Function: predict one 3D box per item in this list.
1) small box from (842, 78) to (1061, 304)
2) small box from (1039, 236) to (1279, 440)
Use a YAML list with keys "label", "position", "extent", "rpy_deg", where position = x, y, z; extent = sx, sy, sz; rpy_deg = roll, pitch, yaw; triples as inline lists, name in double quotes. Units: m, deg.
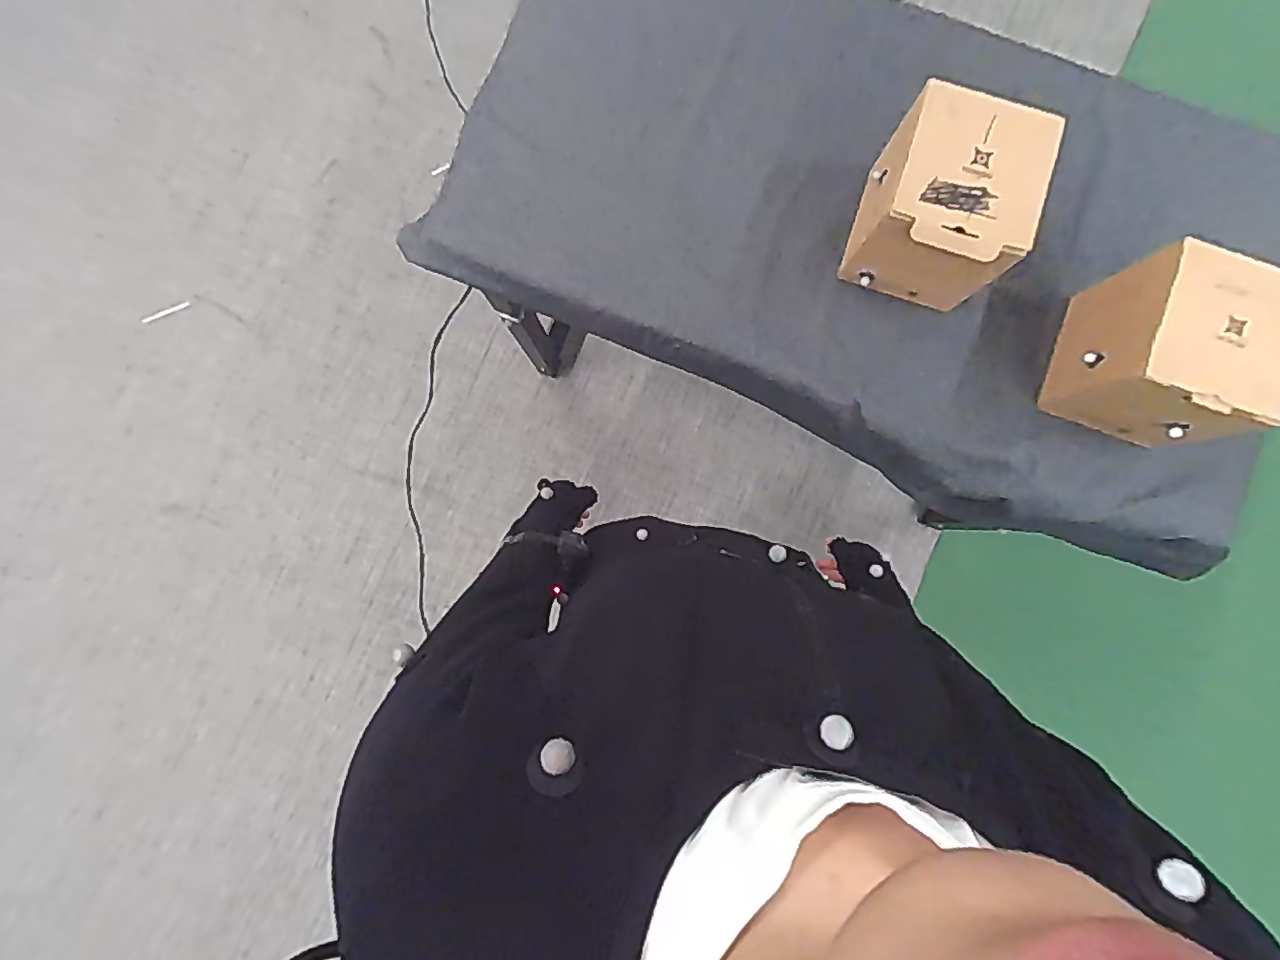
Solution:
- label: "small box"
  position: [0.384, -0.356, 0.701]
  extent: [0.168, 0.176, 0.179]
  rpy_deg: [18, 85, 1]
- label: "small box"
  position: [0.657, -0.164, 0.687]
  extent: [0.168, 0.176, 0.179]
  rpy_deg: [20, 85, 1]
